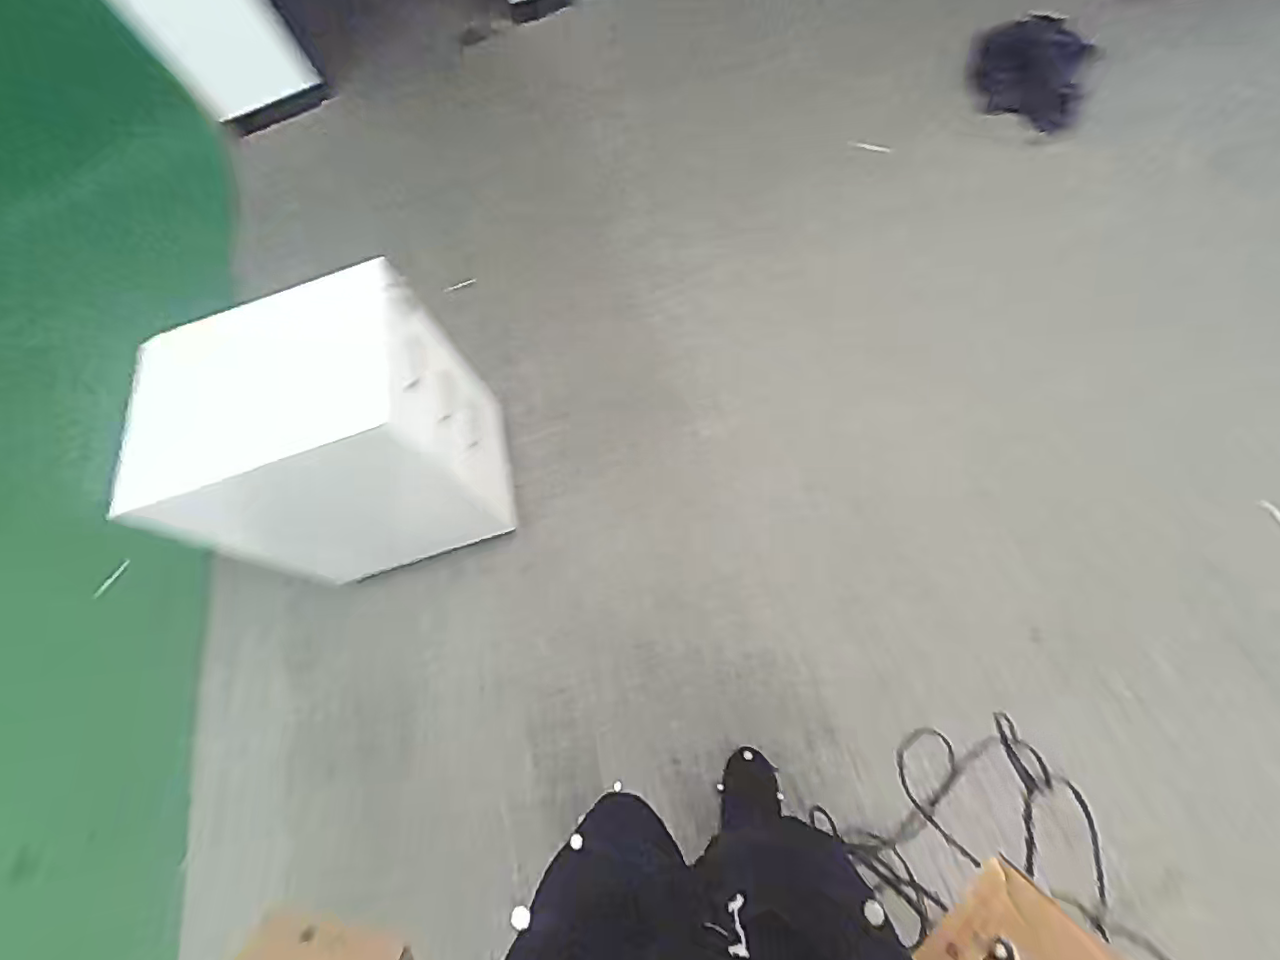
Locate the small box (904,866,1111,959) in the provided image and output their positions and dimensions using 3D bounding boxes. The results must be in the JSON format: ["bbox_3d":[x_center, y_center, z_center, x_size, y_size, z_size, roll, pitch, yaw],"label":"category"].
[{"bbox_3d":[0.401,0.526,0.524,0.168,0.179,0.176,-48,22,-2],"label":"small box"}]
